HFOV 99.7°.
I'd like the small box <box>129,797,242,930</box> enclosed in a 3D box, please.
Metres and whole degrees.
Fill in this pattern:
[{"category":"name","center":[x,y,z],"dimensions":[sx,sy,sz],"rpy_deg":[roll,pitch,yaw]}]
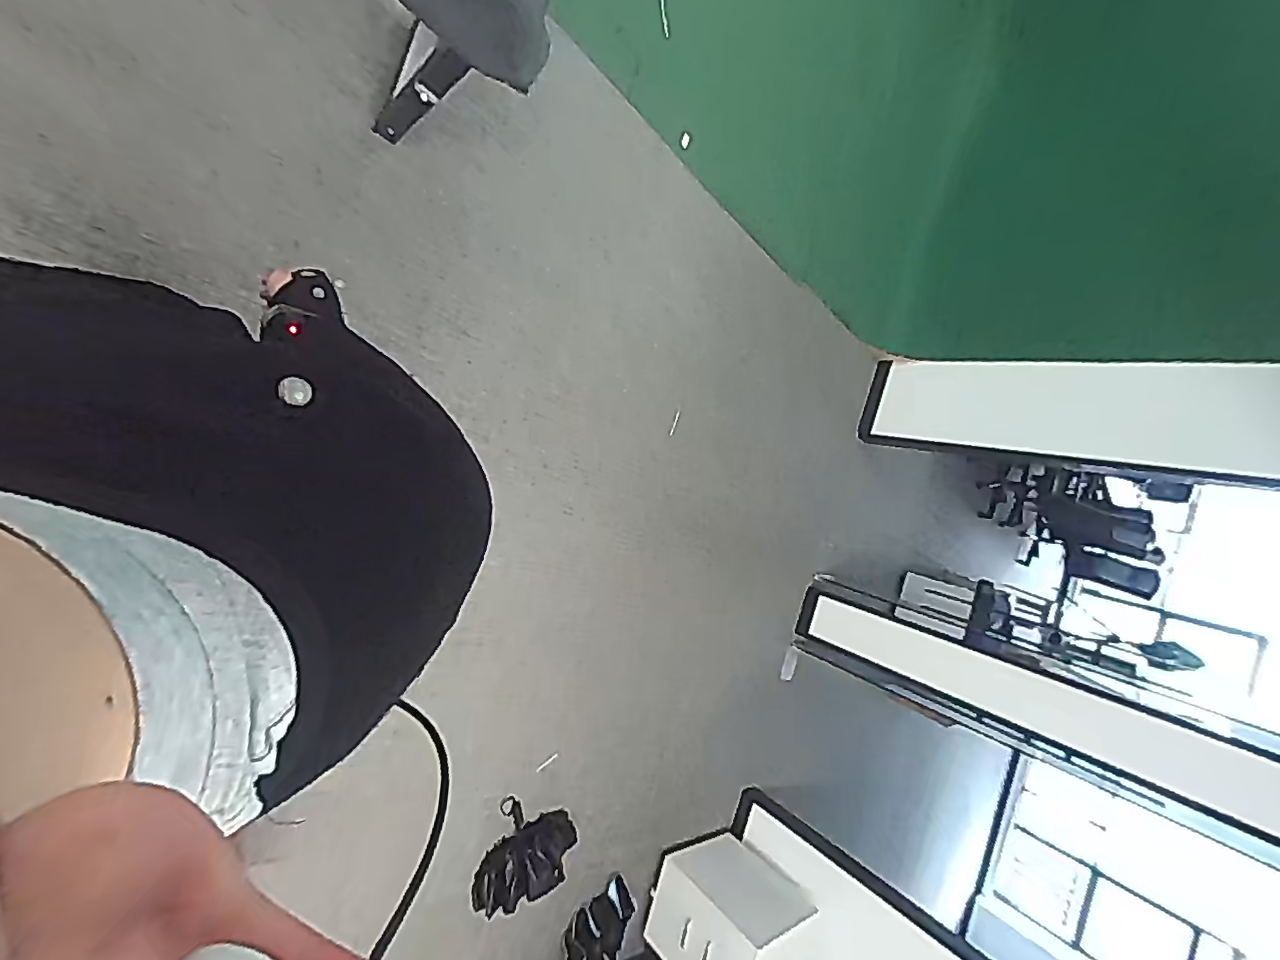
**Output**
[{"category":"small box","center":[-1.081,0.901,1.289],"dimensions":[0.168,0.176,0.179],"rpy_deg":[18,87,-44]}]
